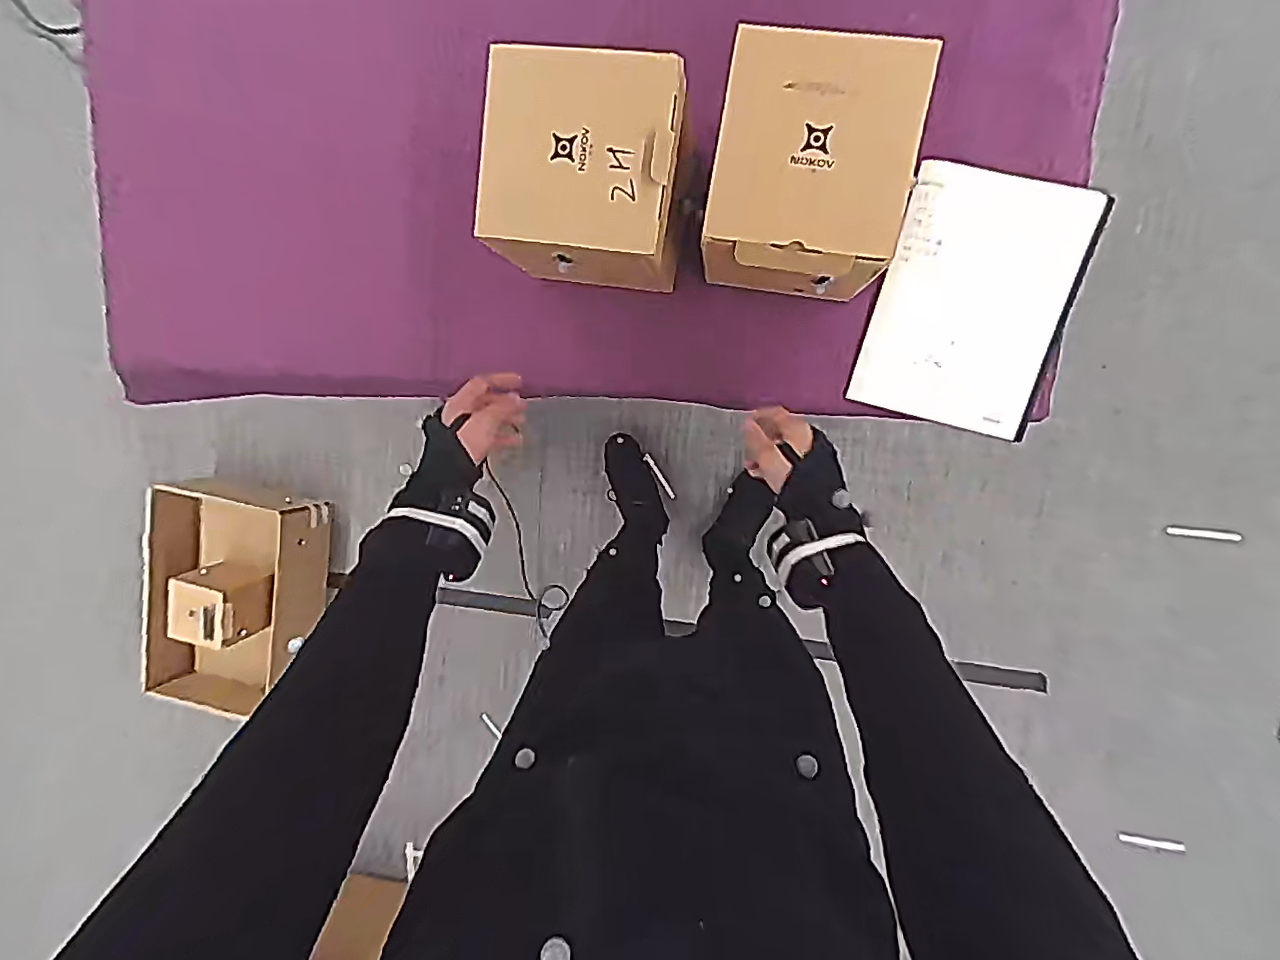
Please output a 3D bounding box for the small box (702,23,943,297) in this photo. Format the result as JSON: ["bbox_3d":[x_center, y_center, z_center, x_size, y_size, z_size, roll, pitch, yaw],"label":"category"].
[{"bbox_3d":[0.161,-0.291,0.531,0.168,0.176,0.179,11,98,7],"label":"small box"}]
